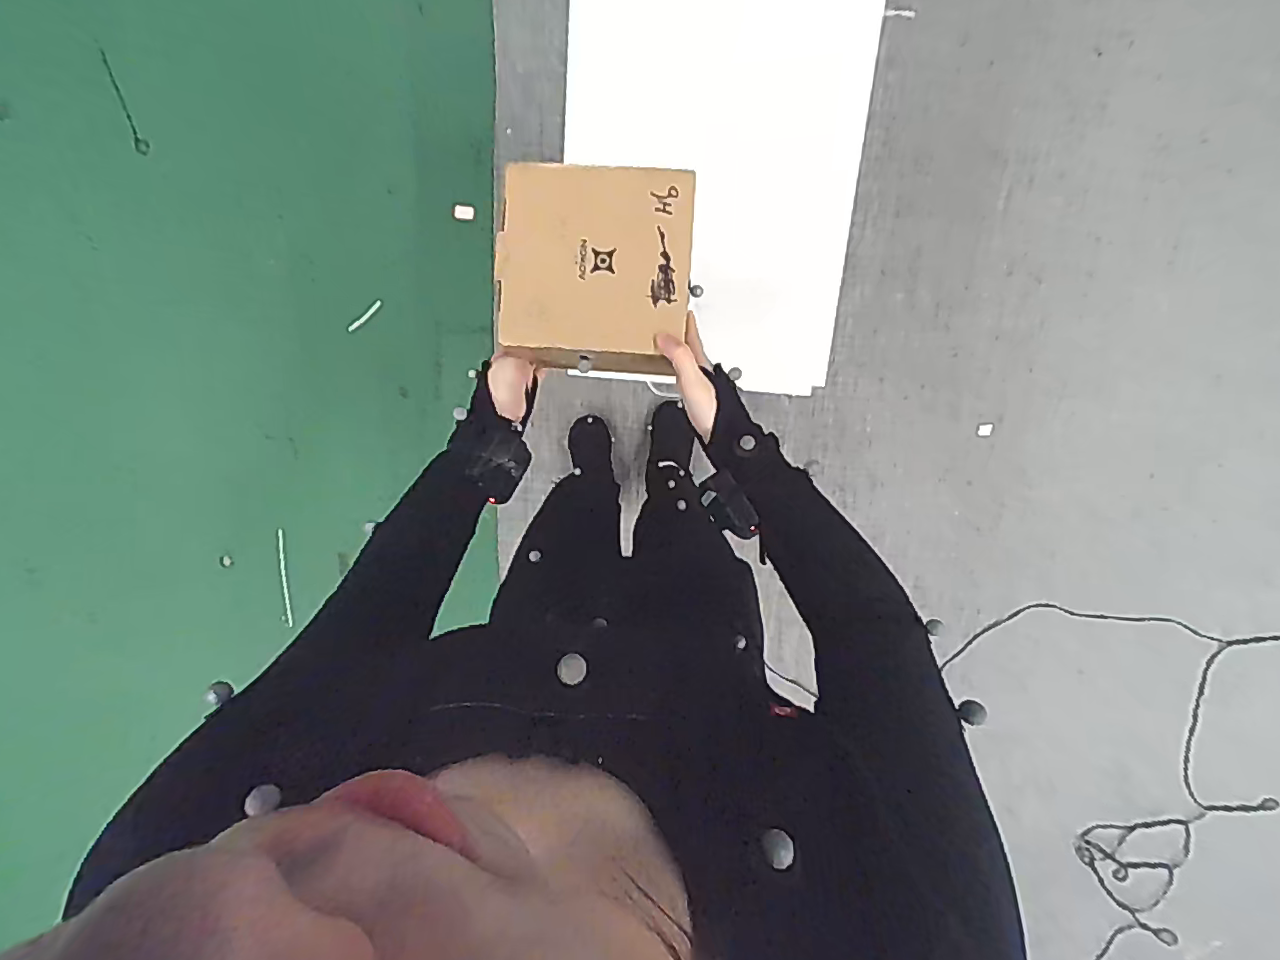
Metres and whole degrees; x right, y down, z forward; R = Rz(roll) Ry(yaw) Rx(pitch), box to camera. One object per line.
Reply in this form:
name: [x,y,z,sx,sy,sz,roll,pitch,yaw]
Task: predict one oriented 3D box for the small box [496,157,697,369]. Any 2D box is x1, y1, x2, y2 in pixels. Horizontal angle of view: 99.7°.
small box: [-0.035,-0.213,0.572,0.179,0.176,0.168,5,96,5]
